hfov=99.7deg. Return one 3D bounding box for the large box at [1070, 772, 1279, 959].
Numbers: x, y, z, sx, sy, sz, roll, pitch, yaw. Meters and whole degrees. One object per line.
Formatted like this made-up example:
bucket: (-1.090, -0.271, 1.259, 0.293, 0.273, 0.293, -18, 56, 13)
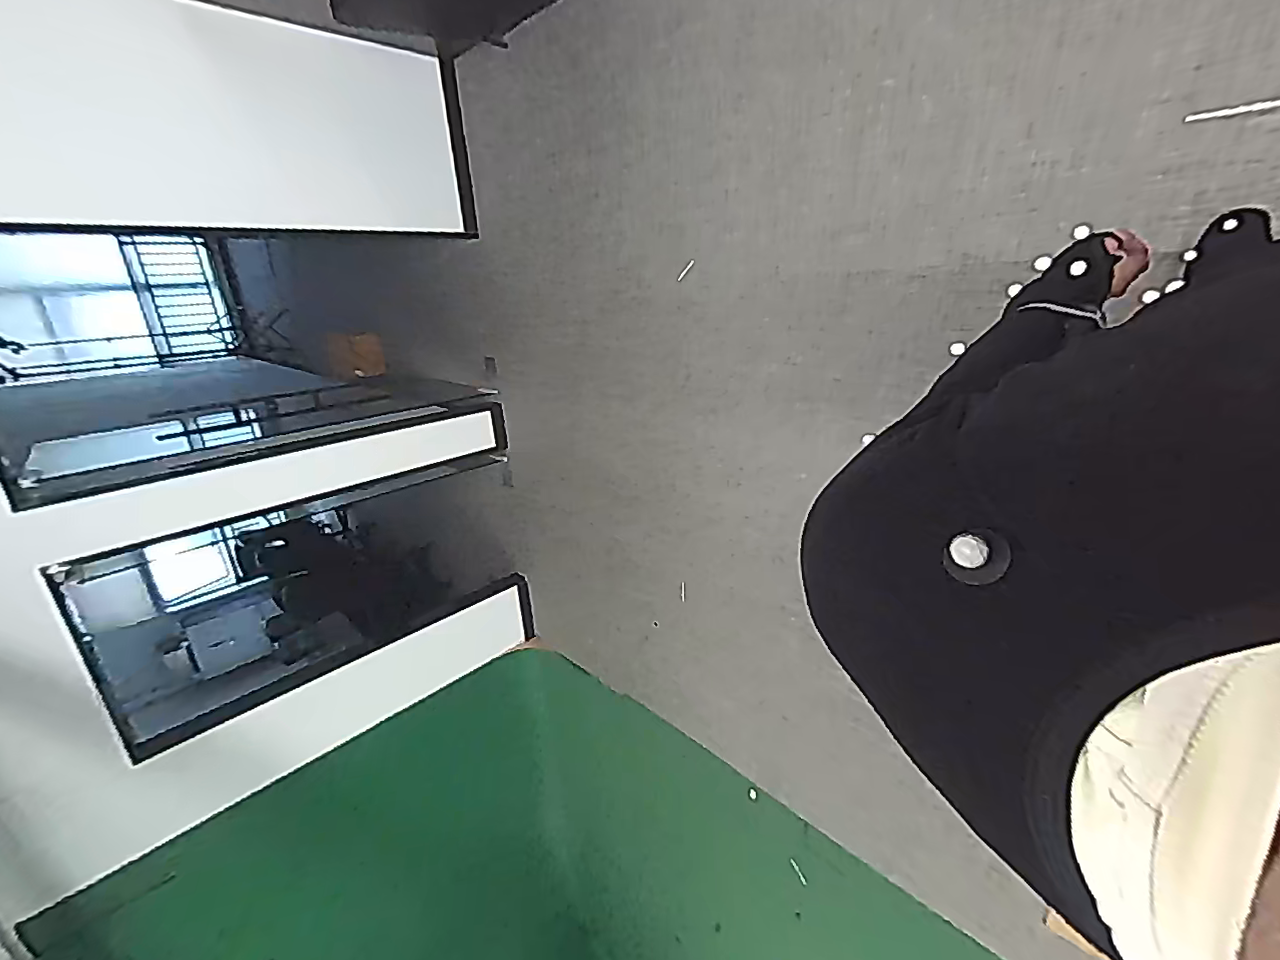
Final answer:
large box: (1.331, 1.007, 1.290, 0.408, 0.320, 0.320, 15, 116, 45)
